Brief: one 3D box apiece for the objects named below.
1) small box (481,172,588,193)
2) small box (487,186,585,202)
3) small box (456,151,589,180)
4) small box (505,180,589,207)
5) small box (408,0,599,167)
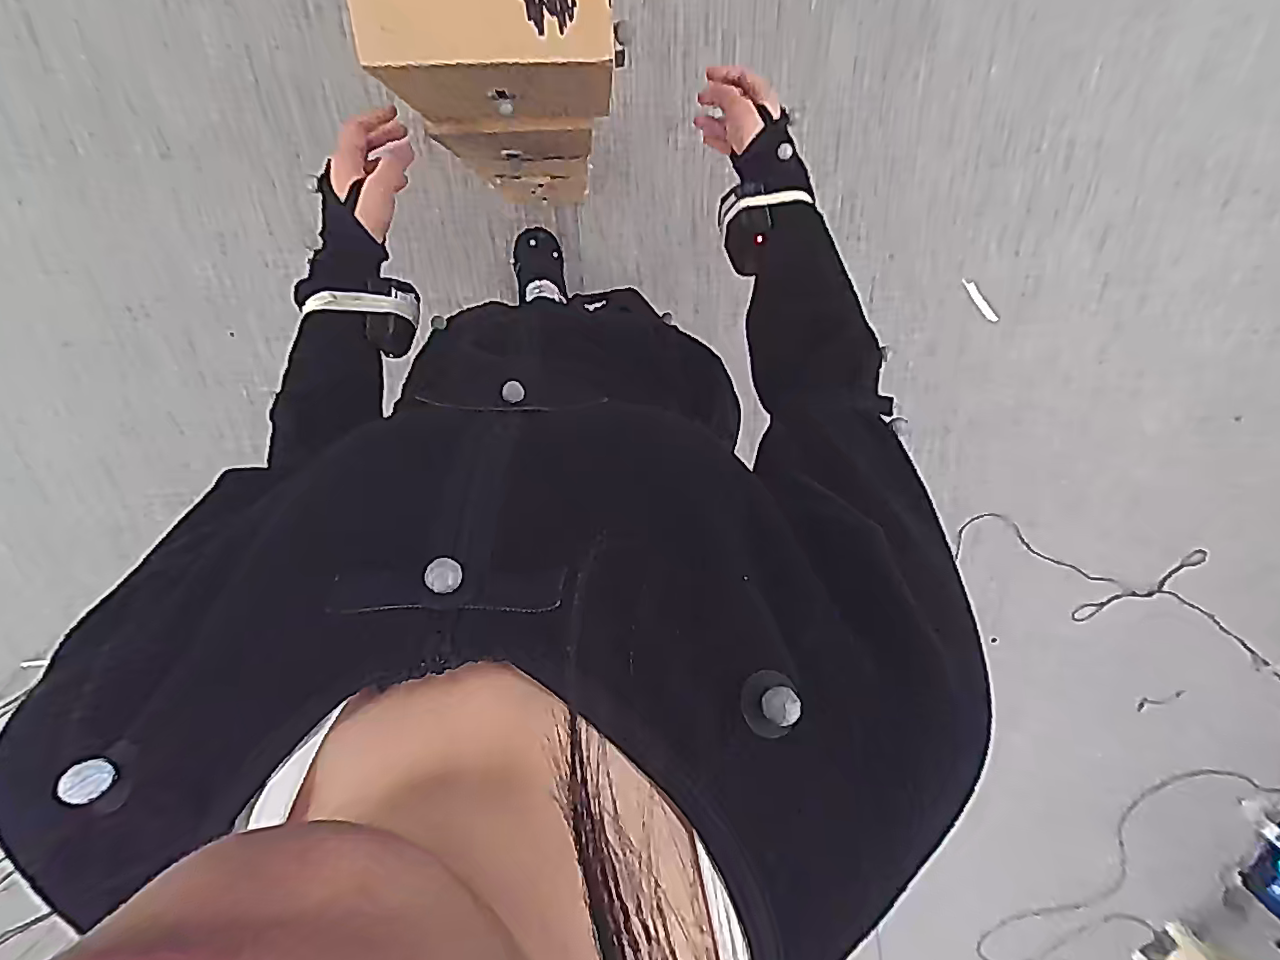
[{"bbox_3d":[-0.167,-0.565,0.868,0.168,0.176,0.179,-2,114,-5],"label":"small box"},{"bbox_3d":[-0.194,-0.624,1.019,0.179,0.176,0.168,-2,113,-6],"label":"small box"},{"bbox_3d":[-0.153,-0.504,0.716,0.168,0.176,0.179,-3,112,-5],"label":"small box"},{"bbox_3d":[-0.204,-0.690,1.169,0.179,0.176,0.168,-4,113,-5],"label":"small box"},{"bbox_3d":[-0.133,-0.443,0.568,0.168,0.176,0.179,-5,114,-3],"label":"small box"}]
